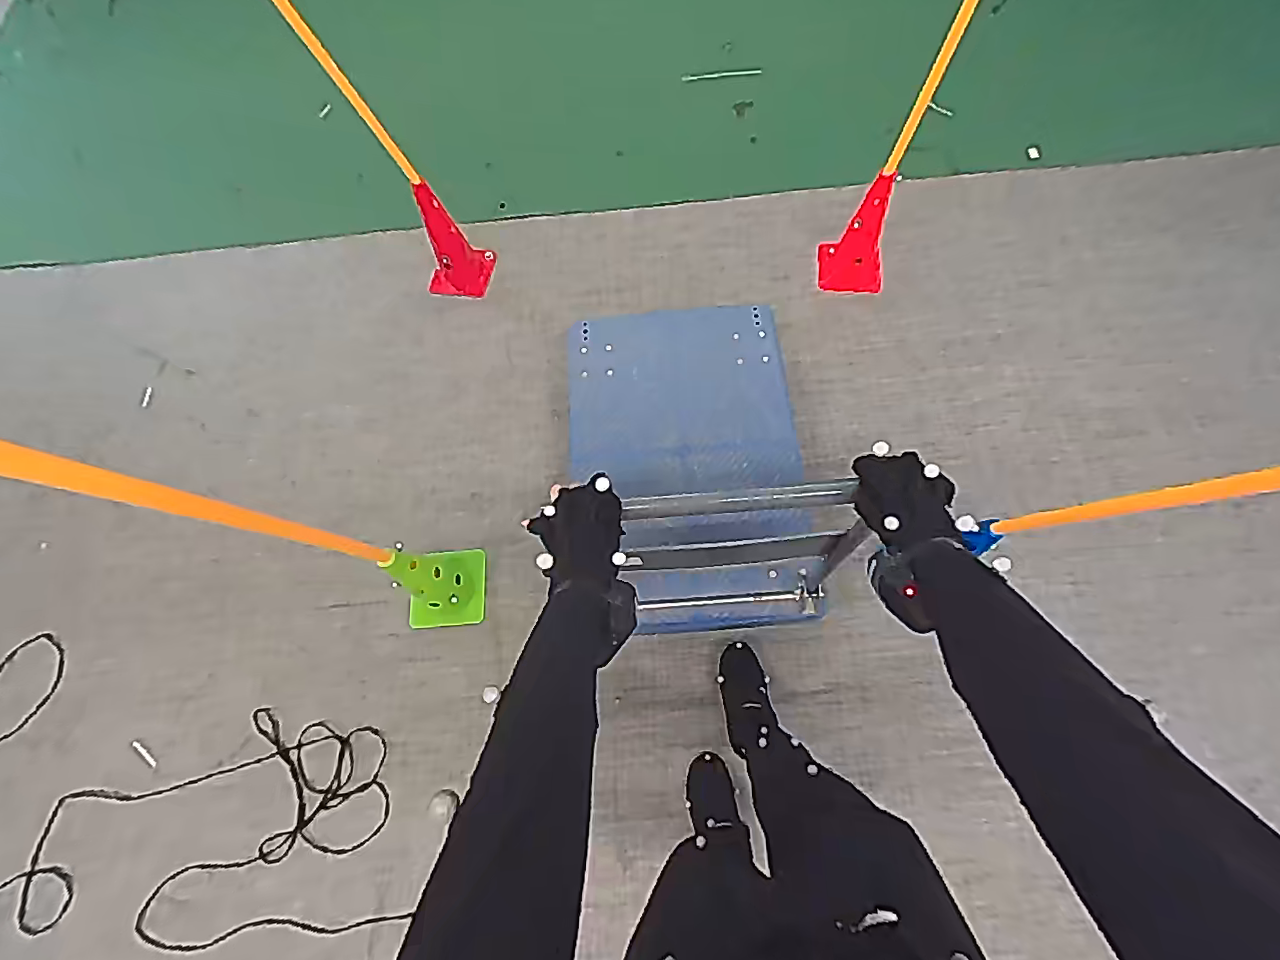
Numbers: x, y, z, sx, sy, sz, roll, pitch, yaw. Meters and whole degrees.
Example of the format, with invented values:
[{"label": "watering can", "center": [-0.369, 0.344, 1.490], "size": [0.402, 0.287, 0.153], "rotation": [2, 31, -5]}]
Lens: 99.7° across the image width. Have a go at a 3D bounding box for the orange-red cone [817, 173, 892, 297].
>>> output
[{"label": "orange-red cone", "center": [0.670, -0.743, 1.608], "size": [0.198, 0.360, 0.199], "rotation": [5, 69, 7]}]
